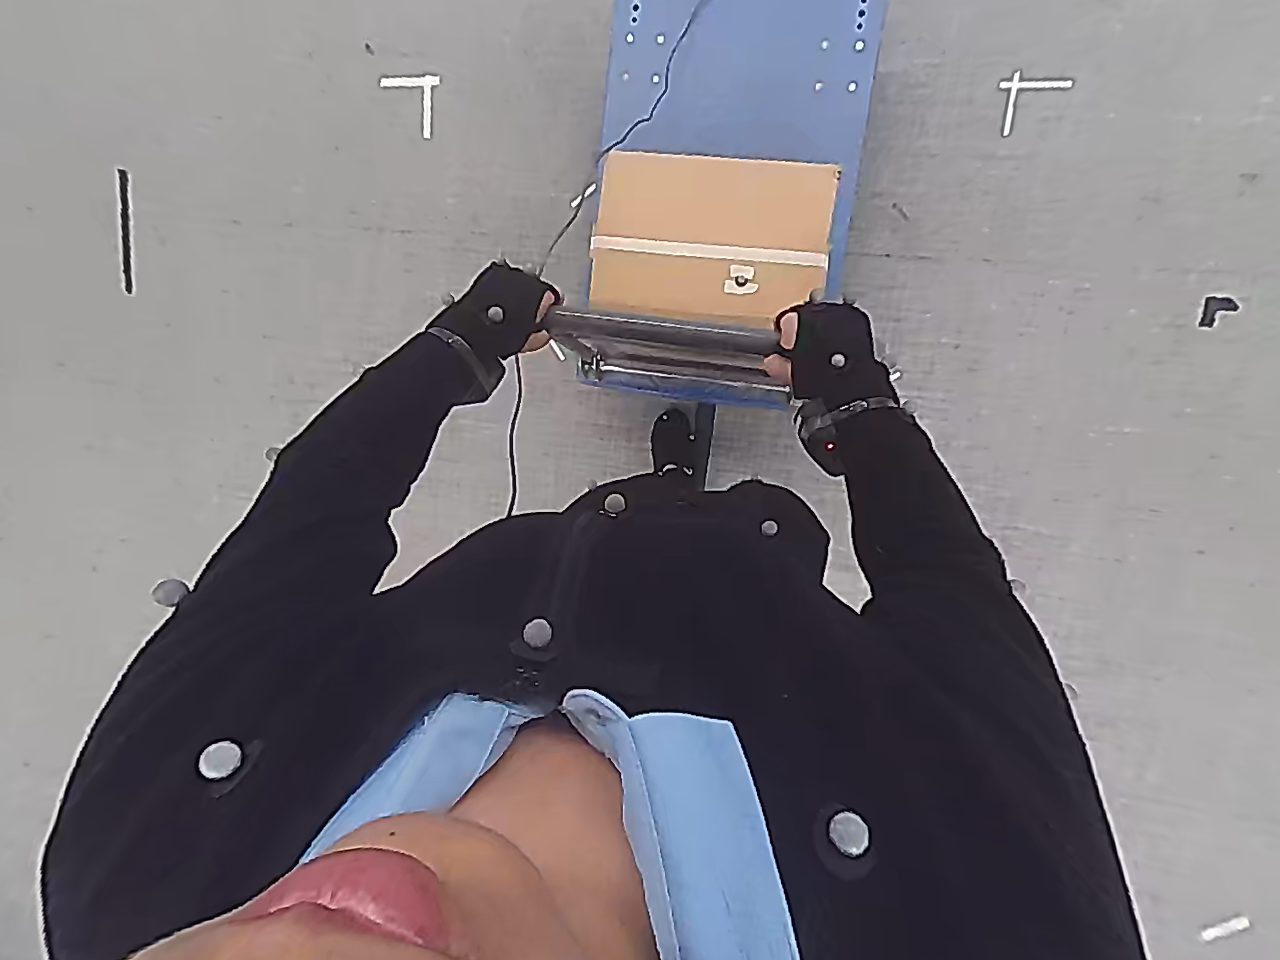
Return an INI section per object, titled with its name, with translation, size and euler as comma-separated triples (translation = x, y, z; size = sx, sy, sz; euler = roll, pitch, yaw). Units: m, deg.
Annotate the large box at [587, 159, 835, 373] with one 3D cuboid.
[large box]
translation = 0.133, -0.402, 1.087
size = 0.408, 0.320, 0.320
euler = 8, 98, 7
